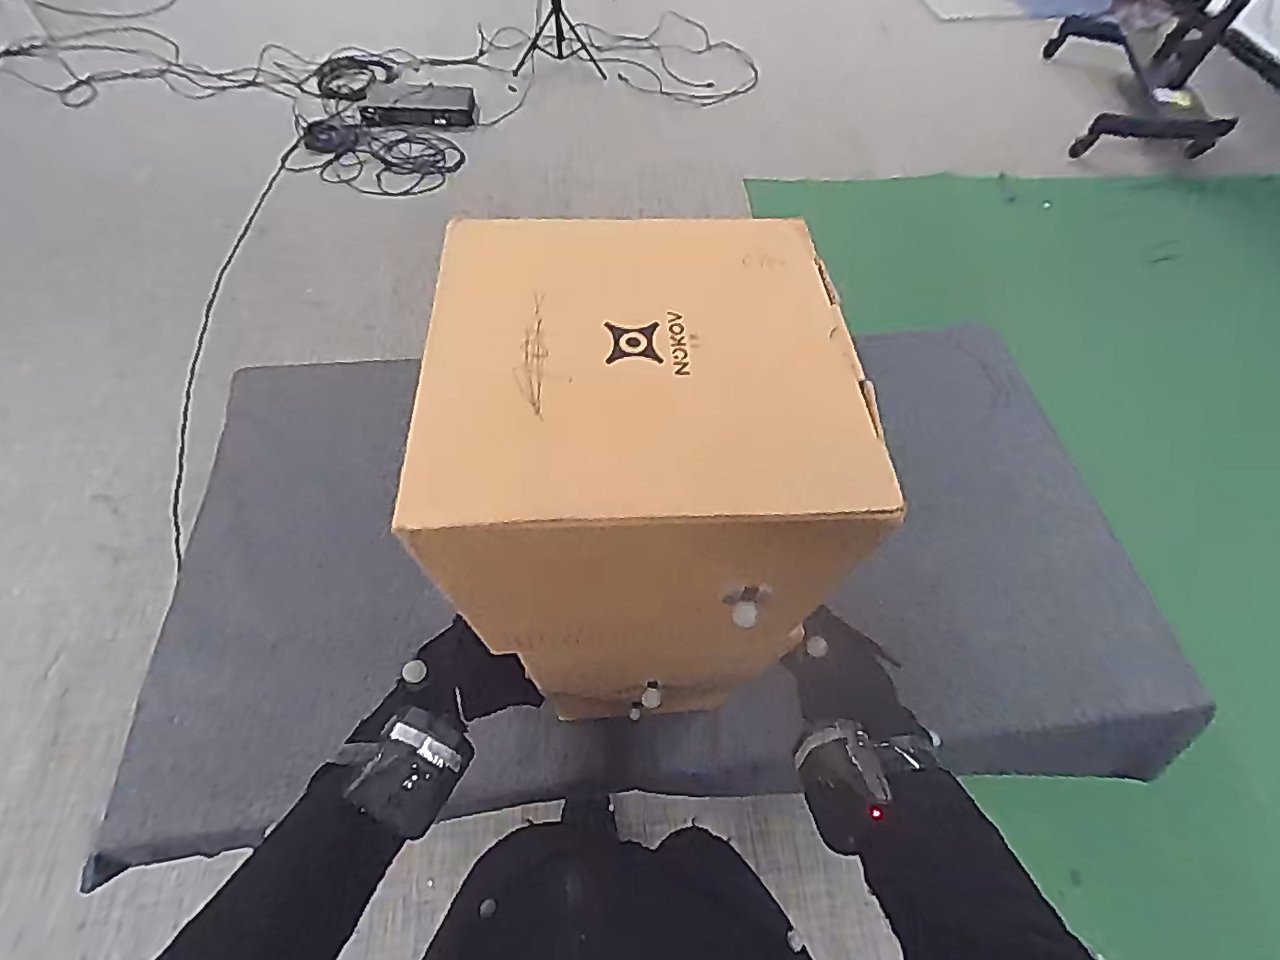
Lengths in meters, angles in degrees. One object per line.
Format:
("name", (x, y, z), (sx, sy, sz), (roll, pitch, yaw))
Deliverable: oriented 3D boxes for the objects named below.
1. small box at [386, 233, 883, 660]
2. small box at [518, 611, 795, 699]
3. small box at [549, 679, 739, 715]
("small box", (-0.006, -0.008, 0.294), (0.179, 0.176, 0.168), (-3, 59, -3))
("small box", (0.001, 0.073, 0.435), (0.179, 0.176, 0.168), (-2, 58, -4))
("small box", (-0.005, 0.150, 0.577), (0.179, 0.176, 0.168), (0, 58, -3))
